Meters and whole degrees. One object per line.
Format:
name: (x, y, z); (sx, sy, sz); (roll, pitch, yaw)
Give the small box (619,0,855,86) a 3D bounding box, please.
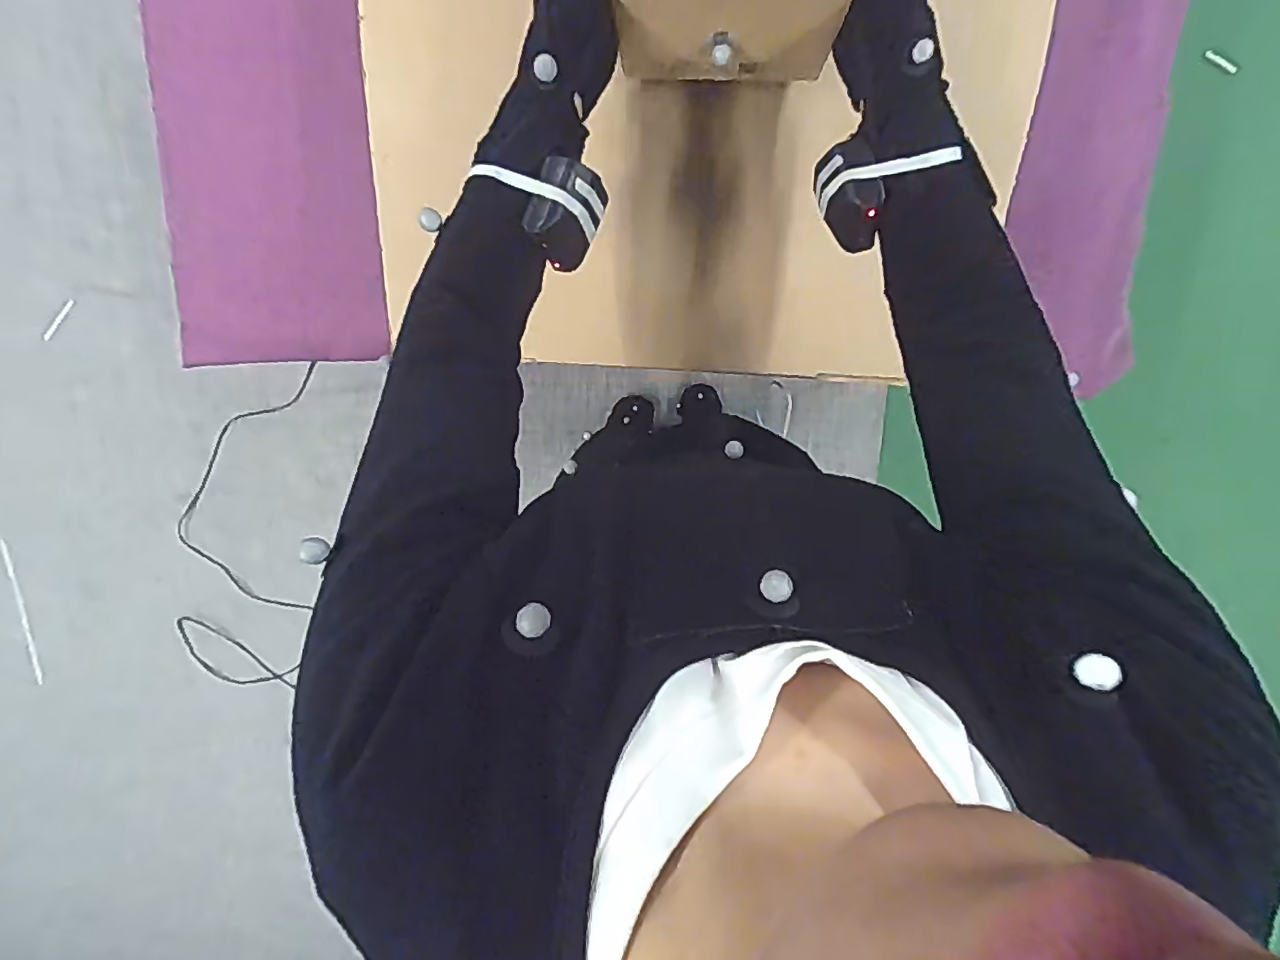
small box: (0.069, -0.408, 0.362); (0.168, 0.176, 0.179); (4, 102, 3)
